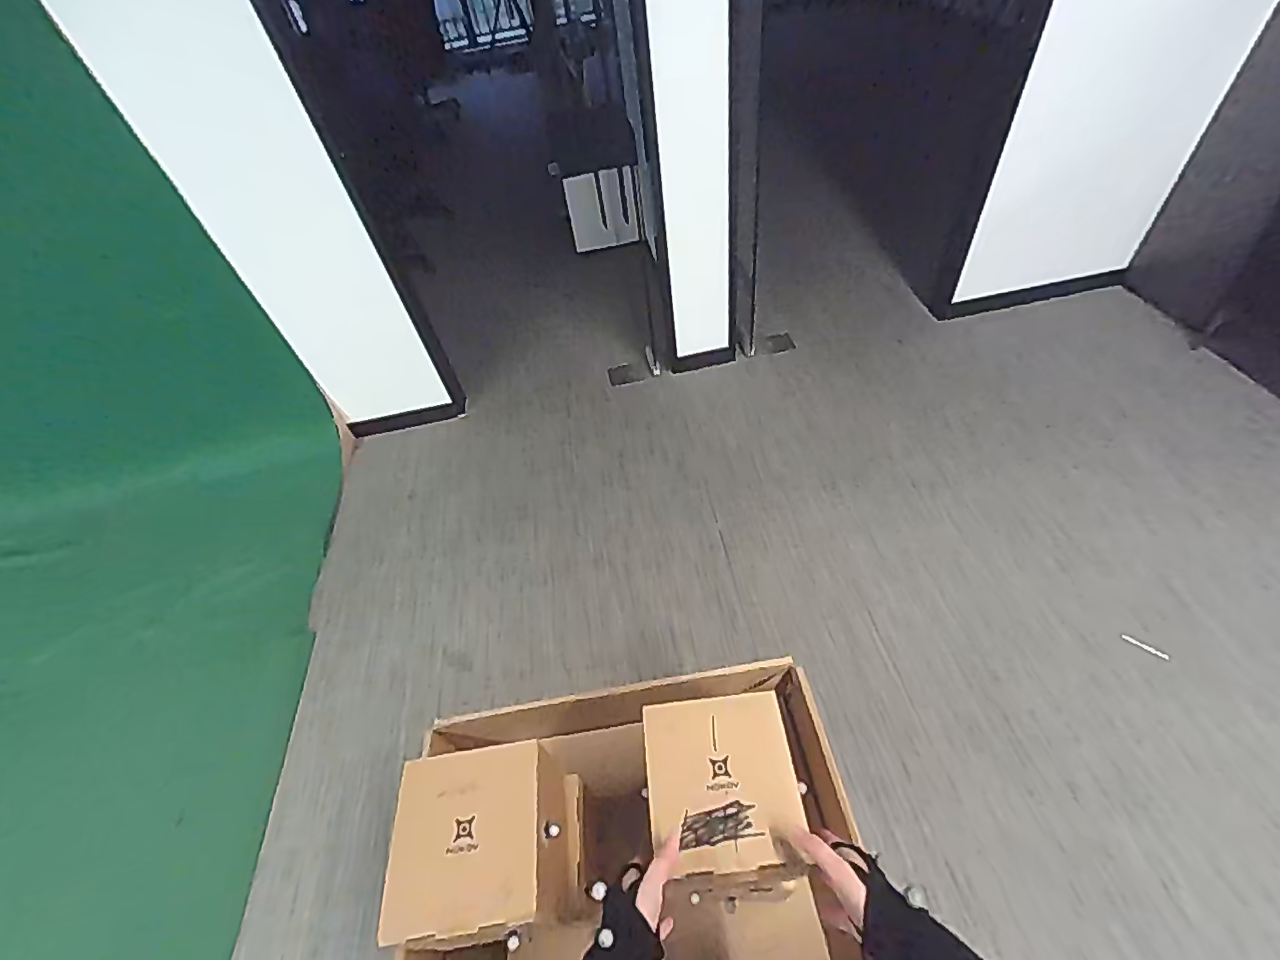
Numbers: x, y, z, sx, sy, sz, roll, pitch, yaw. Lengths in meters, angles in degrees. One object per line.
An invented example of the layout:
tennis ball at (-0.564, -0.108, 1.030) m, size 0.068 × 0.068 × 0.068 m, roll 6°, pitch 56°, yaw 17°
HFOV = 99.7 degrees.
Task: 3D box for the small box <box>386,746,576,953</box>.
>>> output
small box at (-0.177, 0.452, 0.661) m, size 0.168 × 0.176 × 0.179 m, roll -10°, pitch 47°, yaw 2°

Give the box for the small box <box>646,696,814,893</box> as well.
small box at (0.104, 0.389, 0.661) m, size 0.168 × 0.176 × 0.179 m, roll -9°, pitch 47°, yaw 3°
